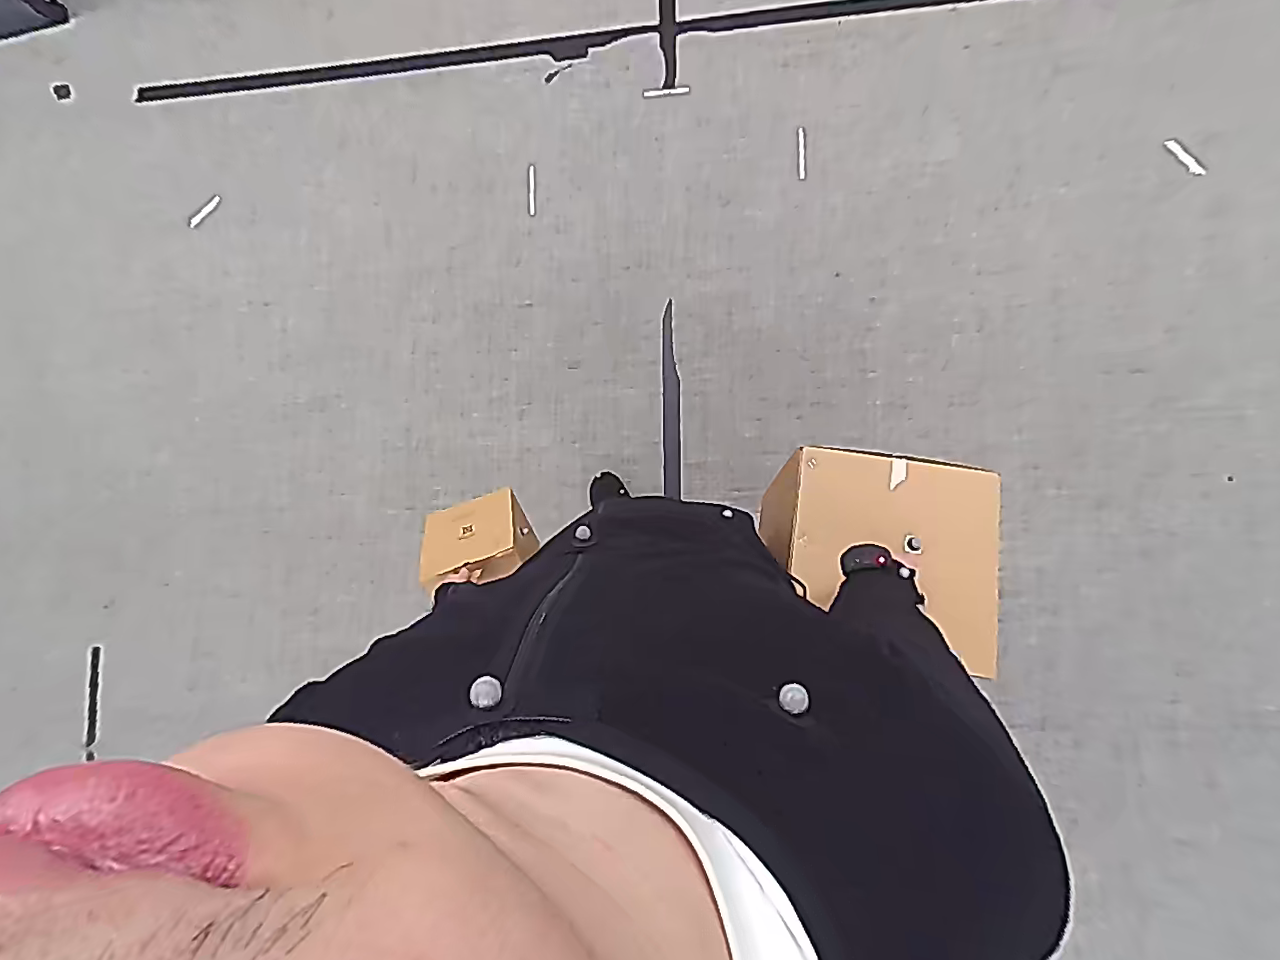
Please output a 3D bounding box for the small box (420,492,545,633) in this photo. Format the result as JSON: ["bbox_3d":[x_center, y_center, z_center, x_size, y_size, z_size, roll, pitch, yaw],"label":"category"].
[{"bbox_3d":[-0.282,0.158,0.996,0.168,0.179,0.176,-19,126,-2],"label":"small box"}]
